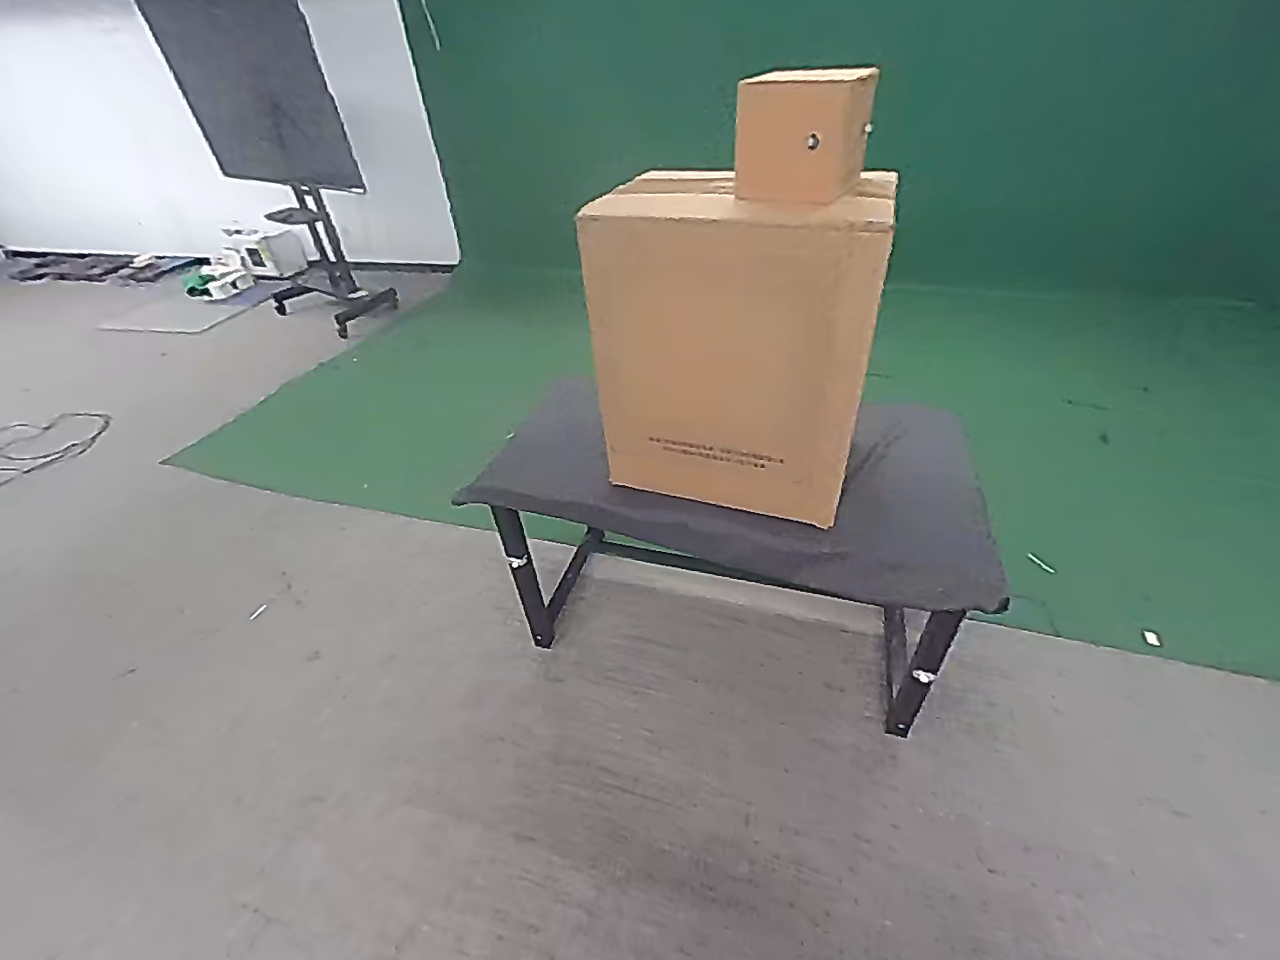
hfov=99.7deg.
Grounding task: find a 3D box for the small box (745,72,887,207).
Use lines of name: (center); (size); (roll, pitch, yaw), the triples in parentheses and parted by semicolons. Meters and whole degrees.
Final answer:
small box: (0.290, -0.573, 0.913); (0.179, 0.176, 0.168); (19, 46, 28)
